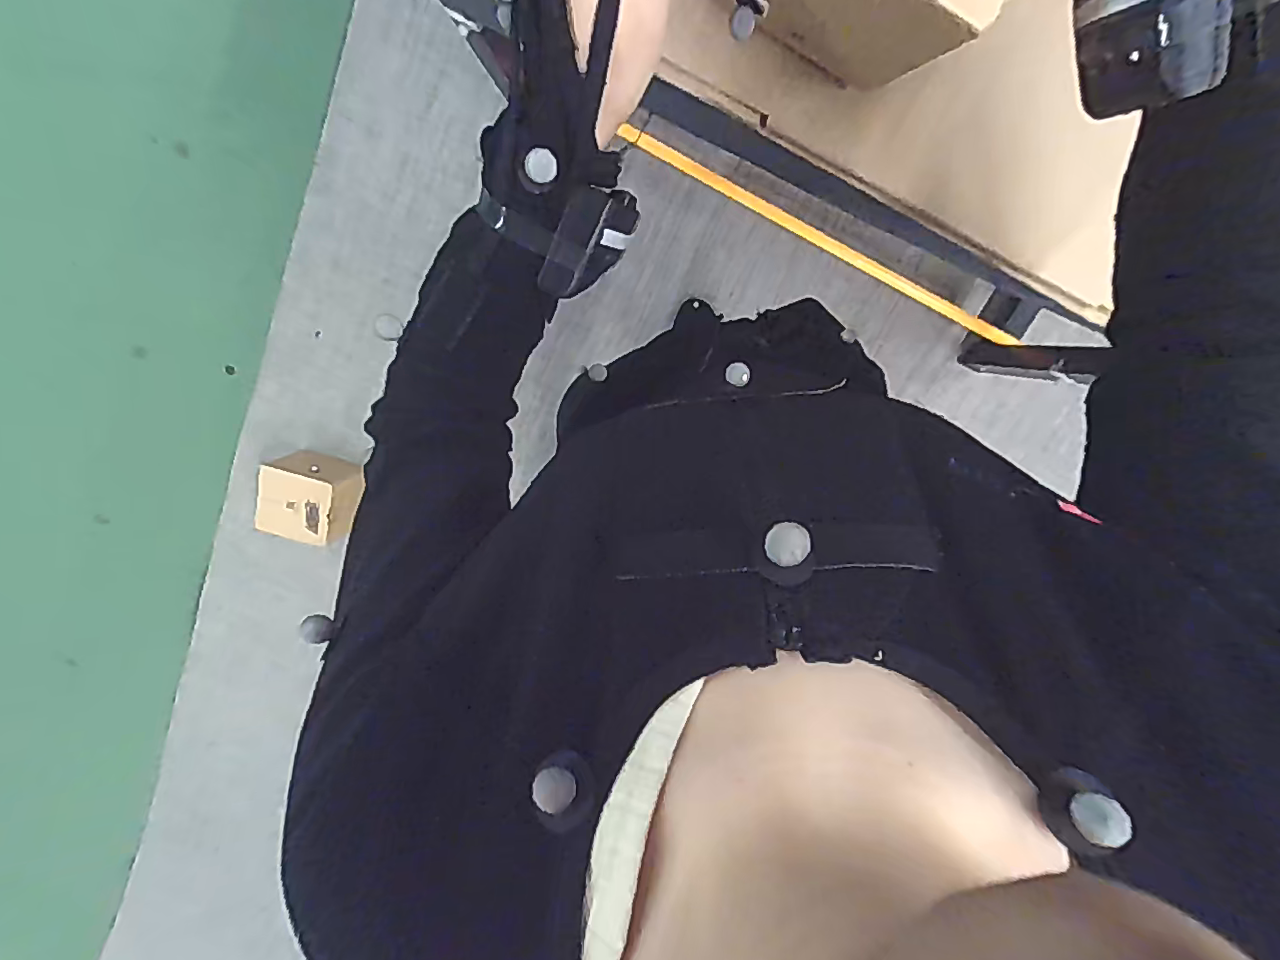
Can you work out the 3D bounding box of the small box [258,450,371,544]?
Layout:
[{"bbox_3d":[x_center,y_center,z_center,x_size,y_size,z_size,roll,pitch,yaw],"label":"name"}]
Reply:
[{"bbox_3d":[-0.795,0.035,1.334,0.179,0.176,0.168,16,105,-1],"label":"small box"}]
